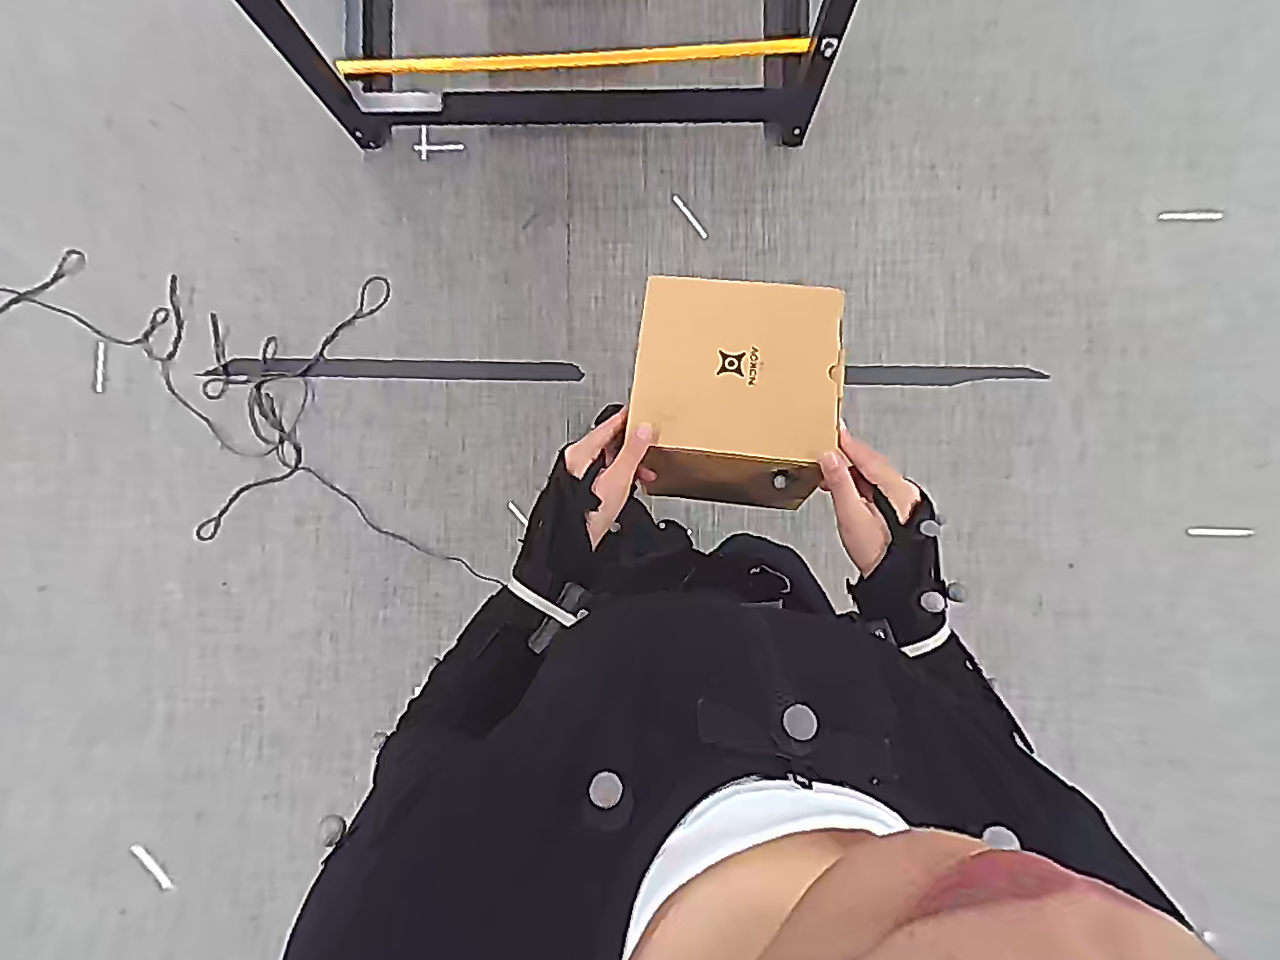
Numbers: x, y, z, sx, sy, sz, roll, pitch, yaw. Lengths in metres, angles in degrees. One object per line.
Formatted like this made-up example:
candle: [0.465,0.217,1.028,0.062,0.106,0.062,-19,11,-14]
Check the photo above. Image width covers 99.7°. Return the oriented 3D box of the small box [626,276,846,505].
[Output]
small box: [0.091,-0.078,0.539,0.179,0.176,0.168,6,75,6]
